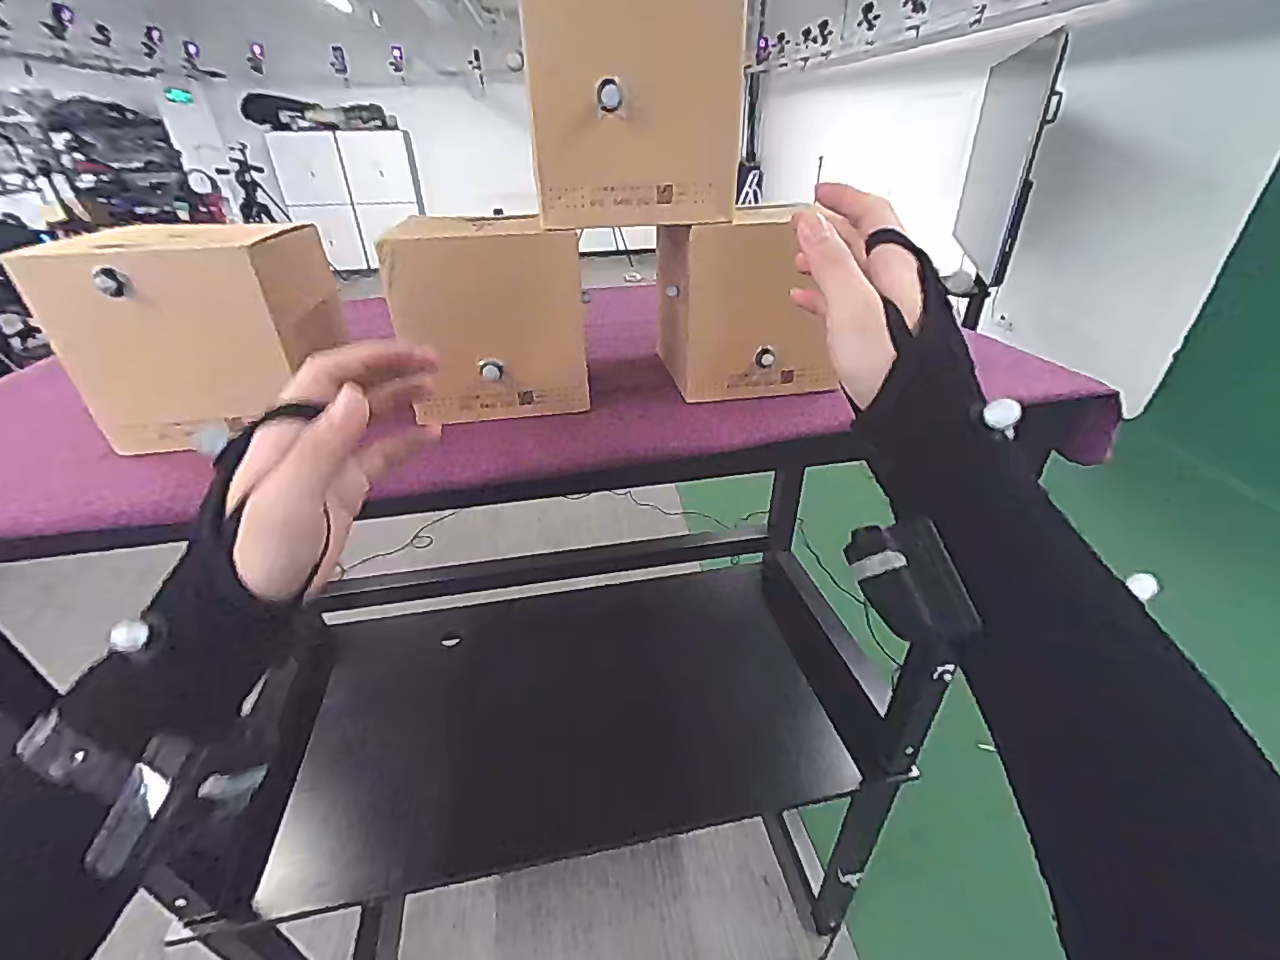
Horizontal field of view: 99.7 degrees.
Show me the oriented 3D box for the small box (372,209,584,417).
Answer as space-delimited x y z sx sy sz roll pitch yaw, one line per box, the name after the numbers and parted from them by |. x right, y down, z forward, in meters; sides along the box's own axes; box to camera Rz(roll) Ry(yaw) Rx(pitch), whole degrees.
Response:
-0.148 -0.176 0.552 0.168 0.176 0.179 -6 32 -8 | small box

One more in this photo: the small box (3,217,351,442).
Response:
-0.397 -0.150 0.512 0.168 0.176 0.179 -7 31 -9 | small box

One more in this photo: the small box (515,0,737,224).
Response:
-0.015 -0.328 0.486 0.168 0.176 0.179 -6 31 -7 | small box
